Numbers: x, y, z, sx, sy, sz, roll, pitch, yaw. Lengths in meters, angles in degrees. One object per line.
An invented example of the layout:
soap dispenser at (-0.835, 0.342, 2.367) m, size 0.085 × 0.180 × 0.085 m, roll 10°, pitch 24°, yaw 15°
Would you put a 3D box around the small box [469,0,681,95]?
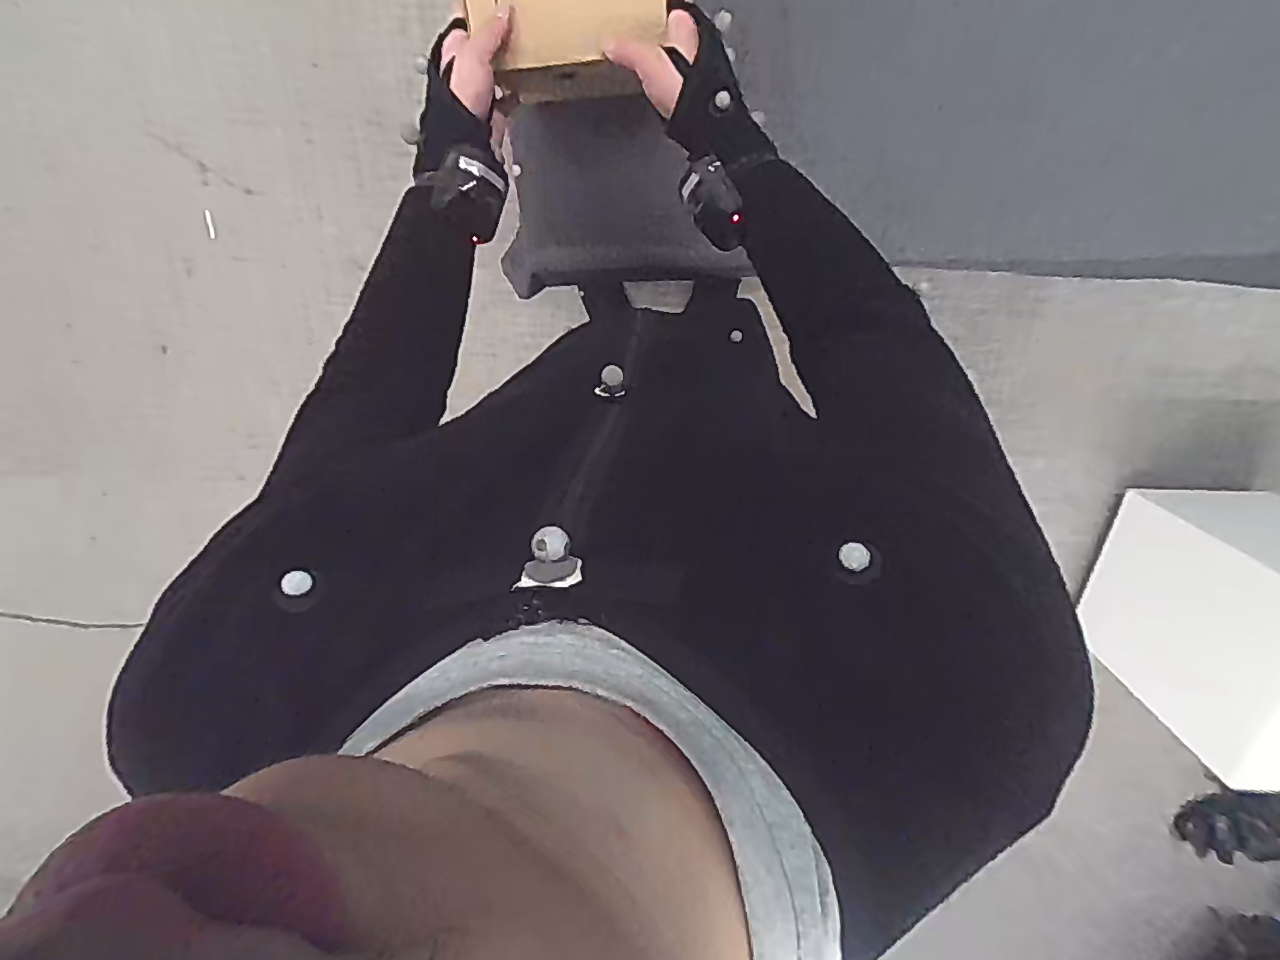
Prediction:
small box at (-0.054, -0.467, 0.489) m, size 0.179 × 0.176 × 0.168 m, roll -3°, pitch 116°, yaw 2°
